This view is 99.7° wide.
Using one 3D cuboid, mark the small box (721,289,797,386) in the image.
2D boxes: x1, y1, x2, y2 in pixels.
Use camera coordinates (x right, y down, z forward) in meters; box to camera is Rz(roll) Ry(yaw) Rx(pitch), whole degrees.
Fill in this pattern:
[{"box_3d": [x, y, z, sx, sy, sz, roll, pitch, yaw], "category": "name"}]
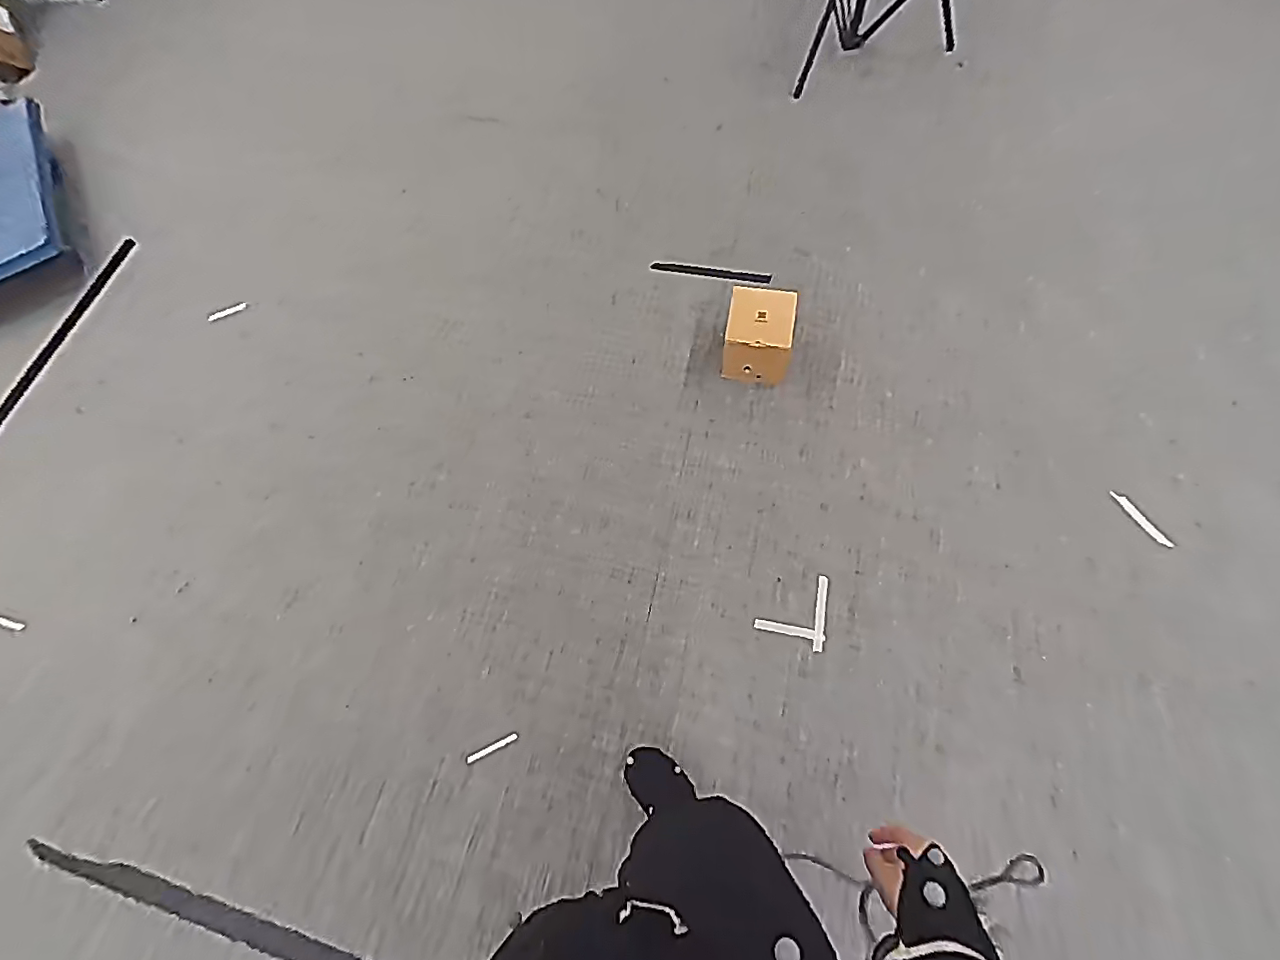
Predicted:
[{"box_3d": [0.311, -0.377, 1.441, 0.168, 0.176, 0.179, 9, 70, 8], "category": "small box"}]
